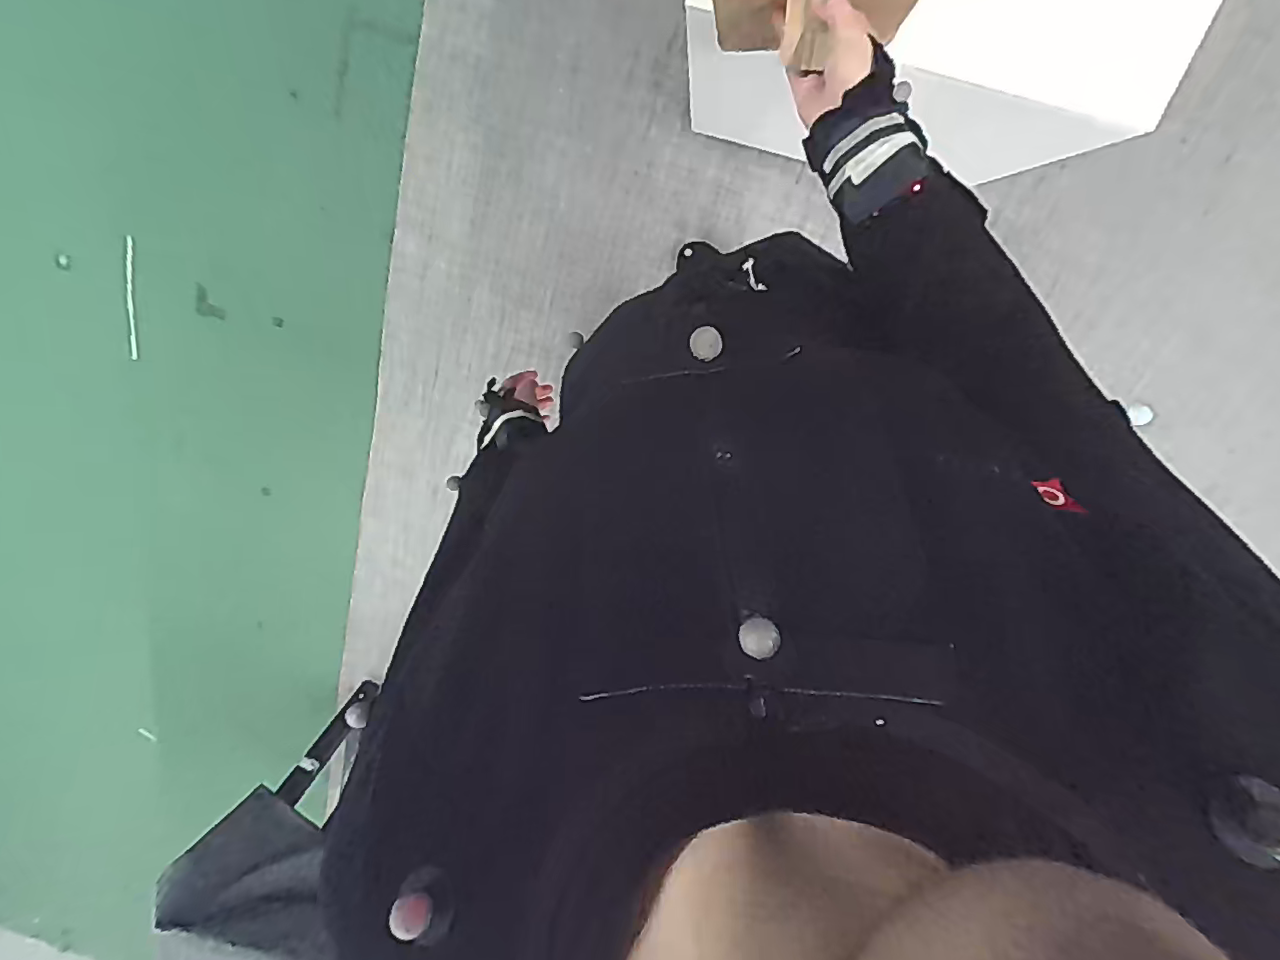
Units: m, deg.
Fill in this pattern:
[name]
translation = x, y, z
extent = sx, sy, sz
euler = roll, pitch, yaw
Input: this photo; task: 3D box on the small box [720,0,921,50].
[small box]
translation = 0.152, -0.478, 0.433
extent = 0.168, 0.176, 0.179
euler = 6, 115, 9
